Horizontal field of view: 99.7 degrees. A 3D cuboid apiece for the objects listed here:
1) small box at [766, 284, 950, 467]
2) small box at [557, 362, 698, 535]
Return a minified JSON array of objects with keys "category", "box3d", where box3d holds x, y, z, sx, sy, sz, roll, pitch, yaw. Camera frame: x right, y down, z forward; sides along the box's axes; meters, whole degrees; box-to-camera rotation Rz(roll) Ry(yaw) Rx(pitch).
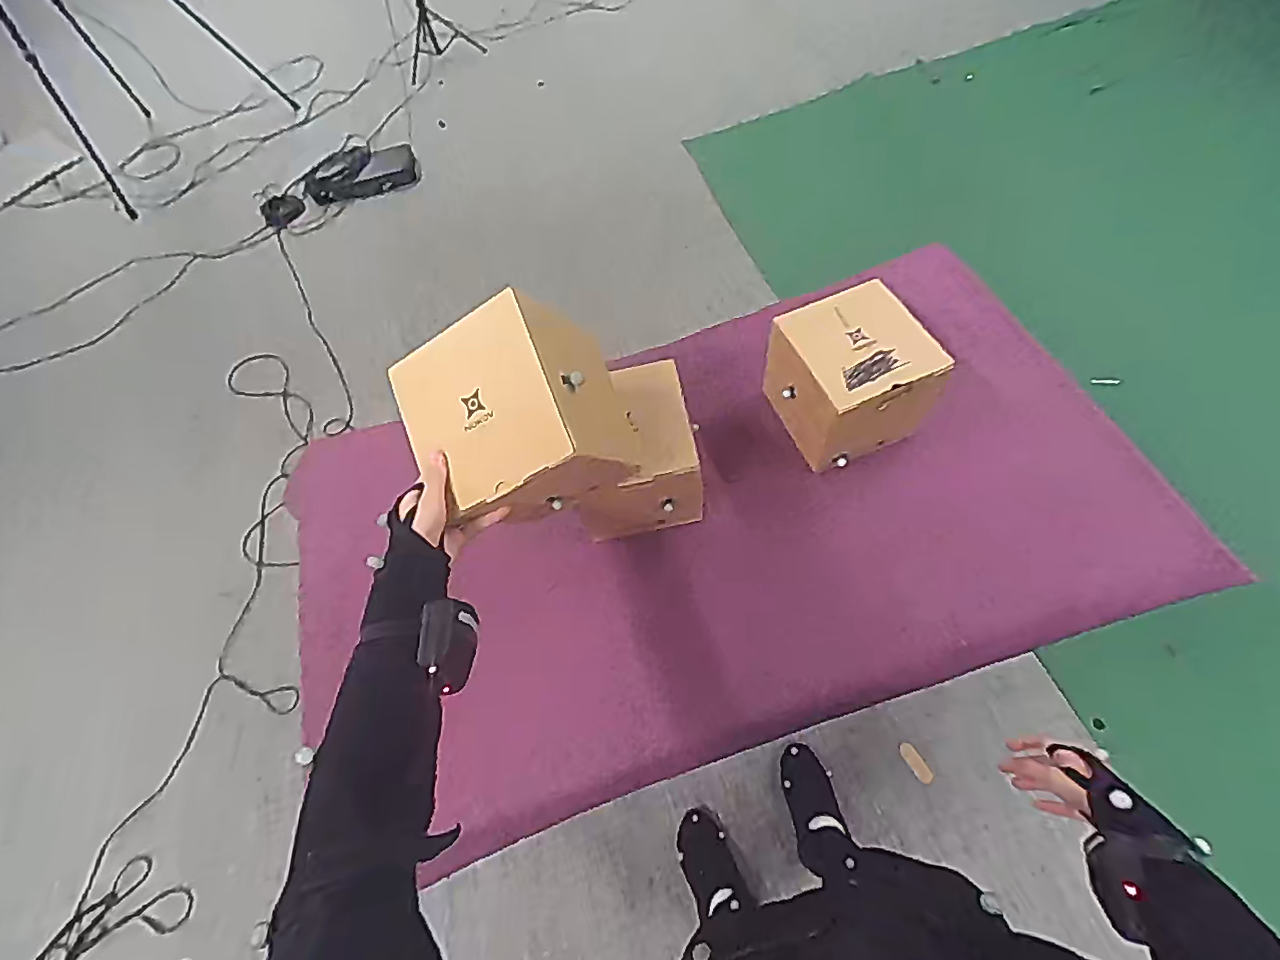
[{"category":"small box","box3d":[0.295,-0.139,0.778,0.168,0.176,0.179,-21,61,-4]},{"category":"small box","box3d":[-0.013,-0.034,0.763,0.168,0.176,0.179,-10,61,1]}]
